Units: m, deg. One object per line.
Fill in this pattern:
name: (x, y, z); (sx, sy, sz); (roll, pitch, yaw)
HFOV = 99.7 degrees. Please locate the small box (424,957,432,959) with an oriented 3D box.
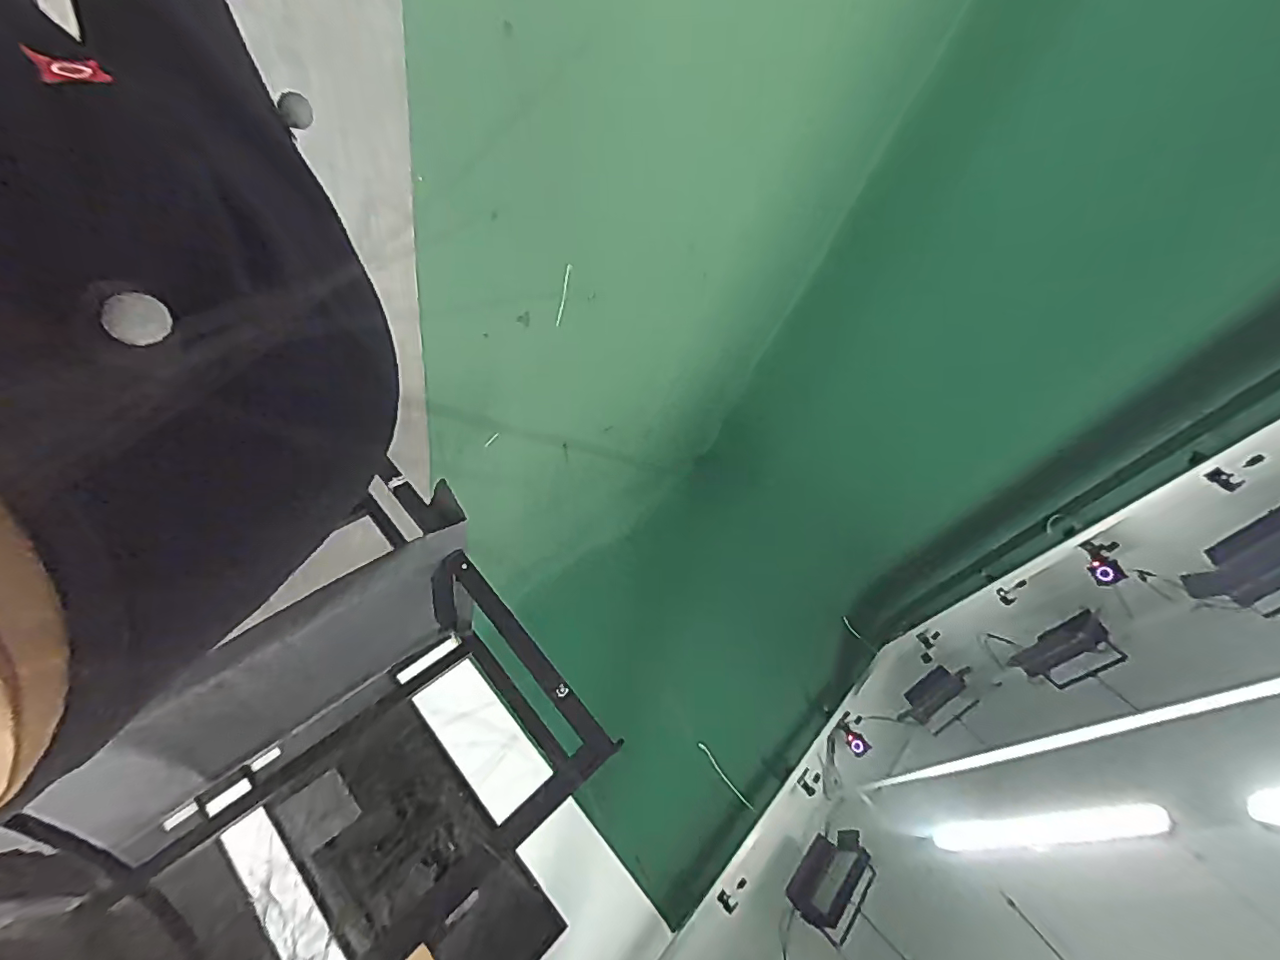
small box: (-0.471, 1.144, 1.125); (0.168, 0.176, 0.179); (-32, 158, -36)
